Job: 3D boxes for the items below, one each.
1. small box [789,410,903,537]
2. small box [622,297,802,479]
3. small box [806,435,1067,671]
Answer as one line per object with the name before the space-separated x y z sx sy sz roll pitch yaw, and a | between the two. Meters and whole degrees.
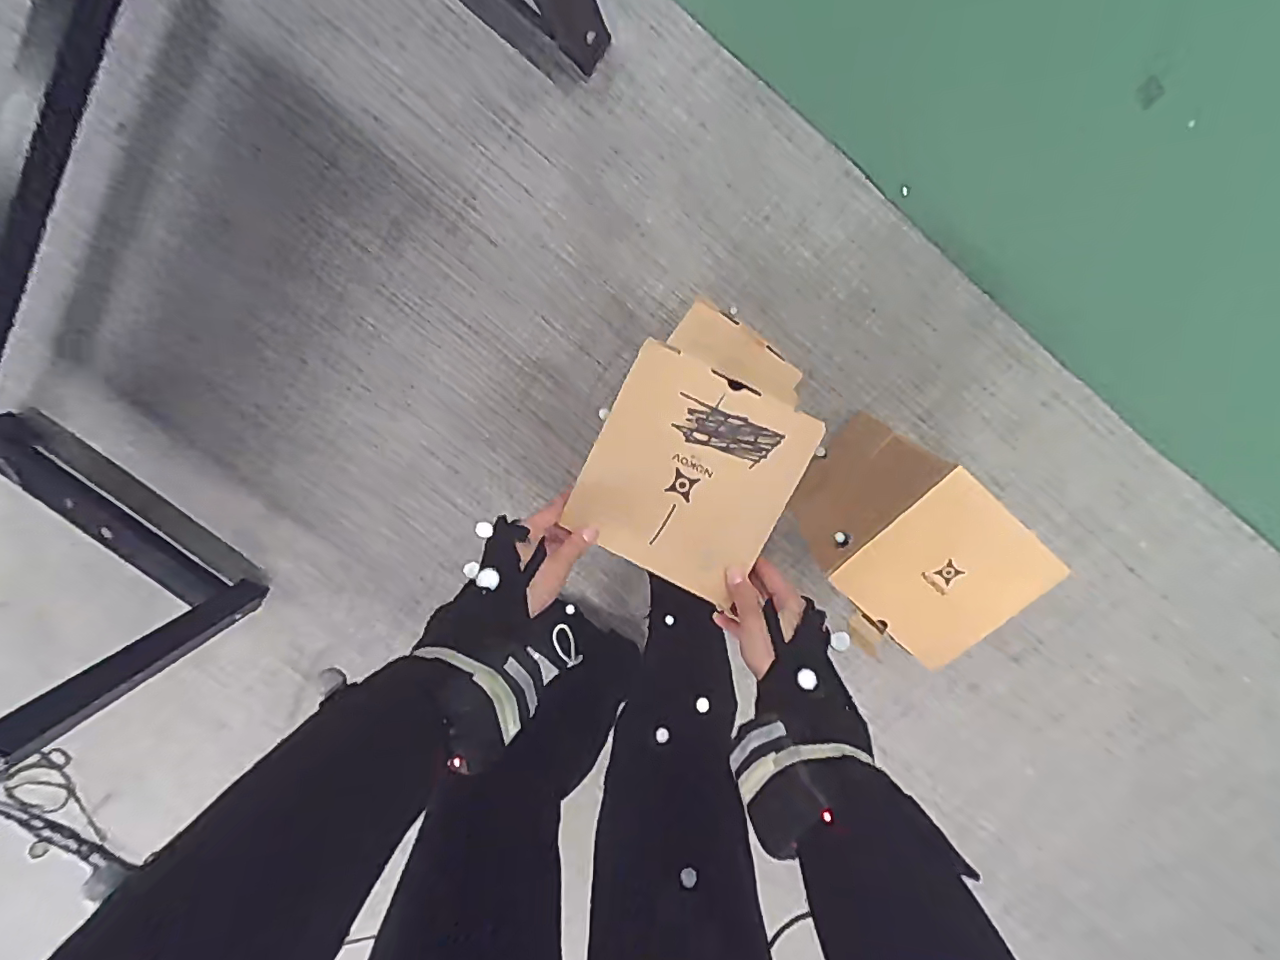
small box | 0.334 0.024 0.780 0.168 0.176 0.179 40 109 -6
small box | 0.097 -0.136 0.763 0.168 0.176 0.179 36 108 -3
small box | 0.317 0.072 0.625 0.168 0.176 0.179 41 107 -6
